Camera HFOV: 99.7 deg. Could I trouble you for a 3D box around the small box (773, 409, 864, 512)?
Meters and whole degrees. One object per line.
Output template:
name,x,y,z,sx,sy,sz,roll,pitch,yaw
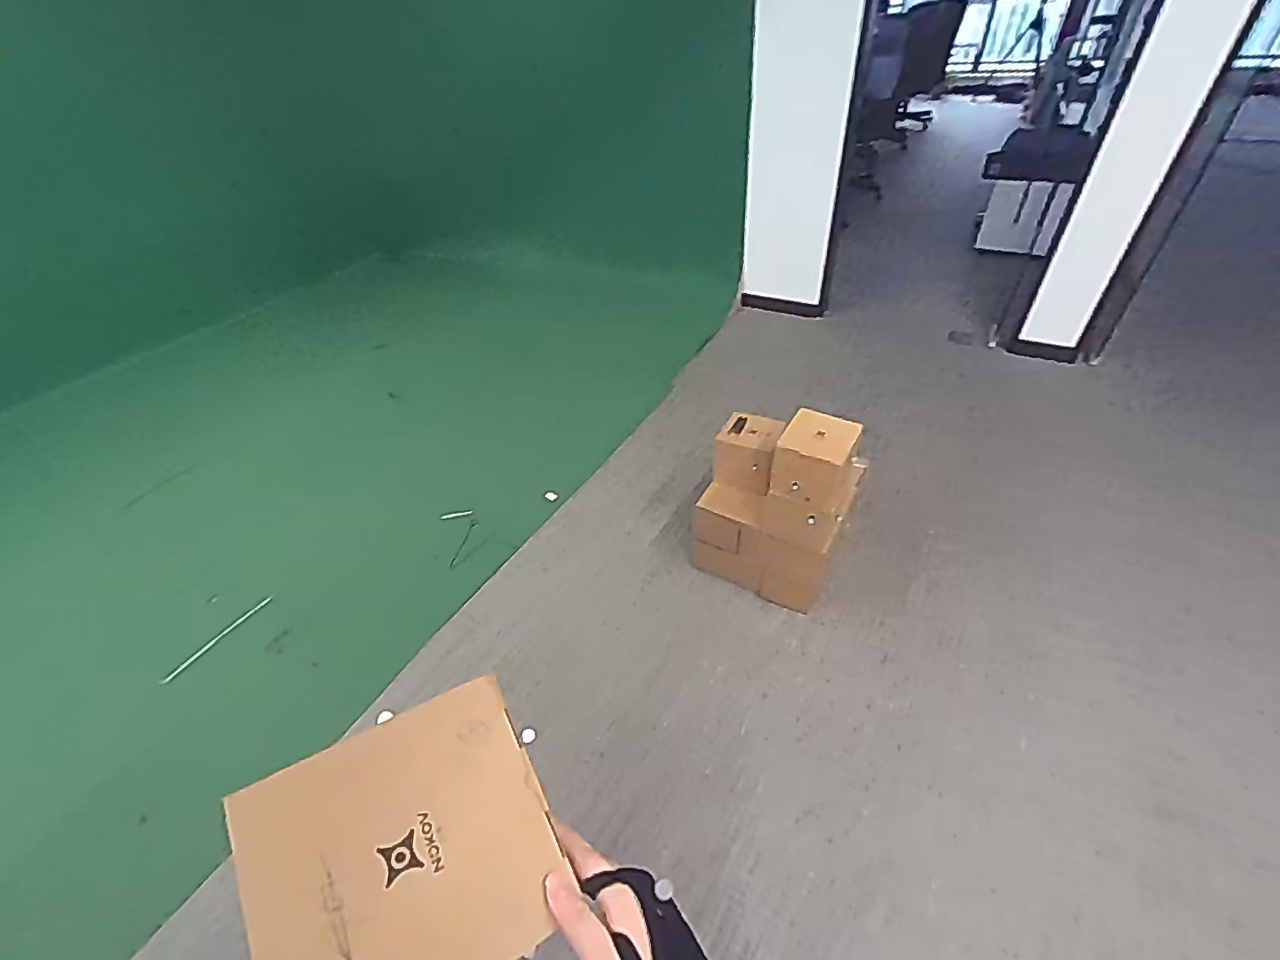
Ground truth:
small box,0.453,-0.050,1.393,0.168,0.176,0.179,22,50,25

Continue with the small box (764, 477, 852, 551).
small box,0.462,0.072,1.501,0.179,0.176,0.168,22,48,25

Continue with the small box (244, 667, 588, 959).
small box,-0.158,0.272,0.413,0.179,0.176,0.168,-20,64,-22
